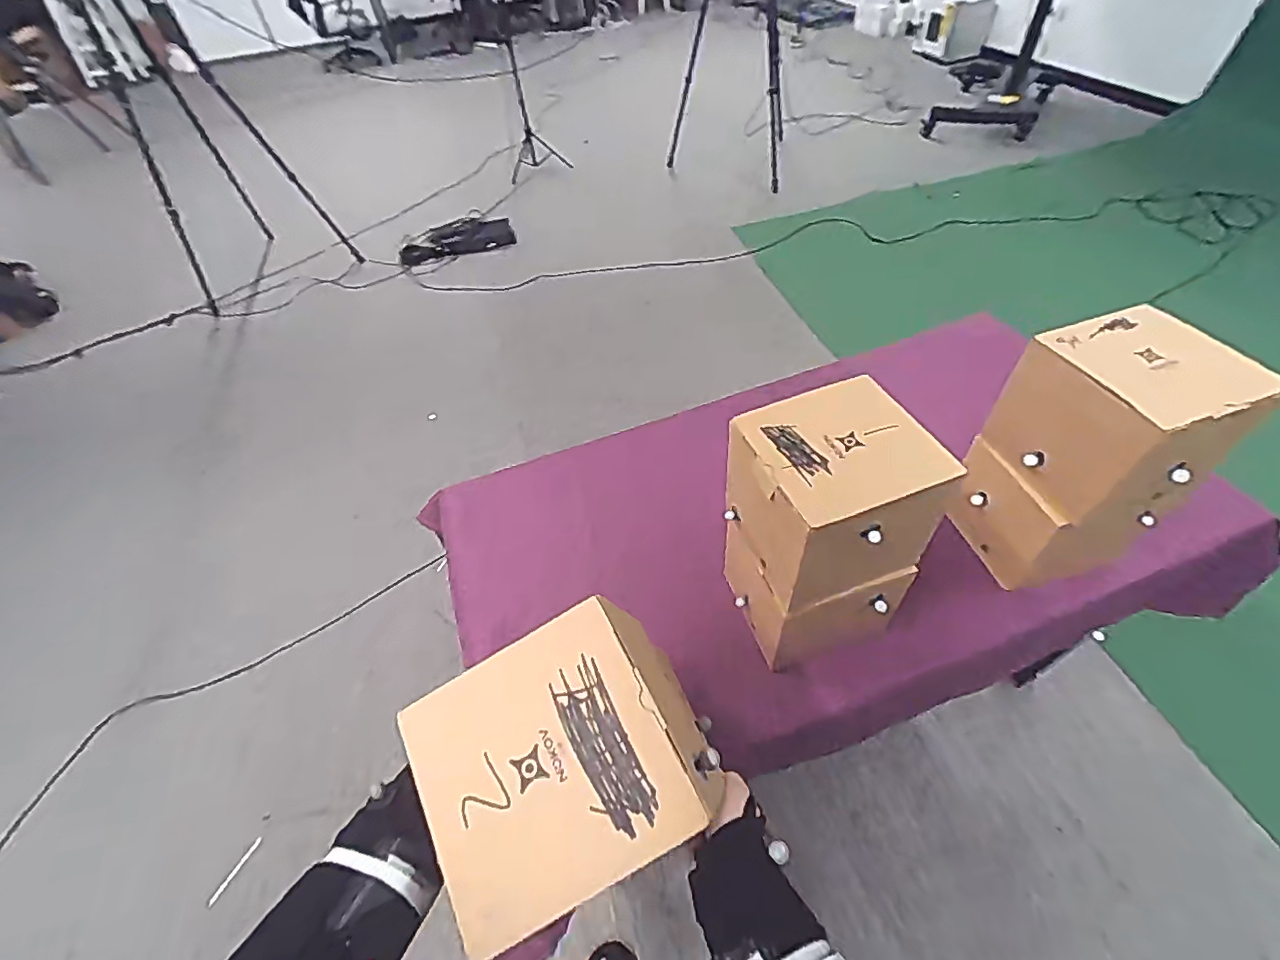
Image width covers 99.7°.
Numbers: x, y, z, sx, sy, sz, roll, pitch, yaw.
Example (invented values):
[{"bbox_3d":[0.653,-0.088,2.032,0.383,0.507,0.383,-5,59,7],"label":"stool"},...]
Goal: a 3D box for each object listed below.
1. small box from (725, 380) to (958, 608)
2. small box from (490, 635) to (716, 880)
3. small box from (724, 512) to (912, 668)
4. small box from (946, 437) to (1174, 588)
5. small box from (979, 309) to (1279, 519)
[{"bbox_3d":[0.209,0.019,0.617,0.179,0.176,0.168,-18,51,-10],"label":"small box"},{"bbox_3d":[-0.031,0.292,0.591,0.179,0.176,0.168,-26,64,0],"label":"small box"},{"bbox_3d":[0.225,0.130,0.738,0.179,0.176,0.168,-16,50,-7],"label":"small box"},{"bbox_3d":[0.576,0.034,0.780,0.179,0.176,0.168,-13,50,-5],"label":"small box"},{"bbox_3d":[0.564,-0.072,0.655,0.168,0.176,0.179,-16,51,-8],"label":"small box"}]
